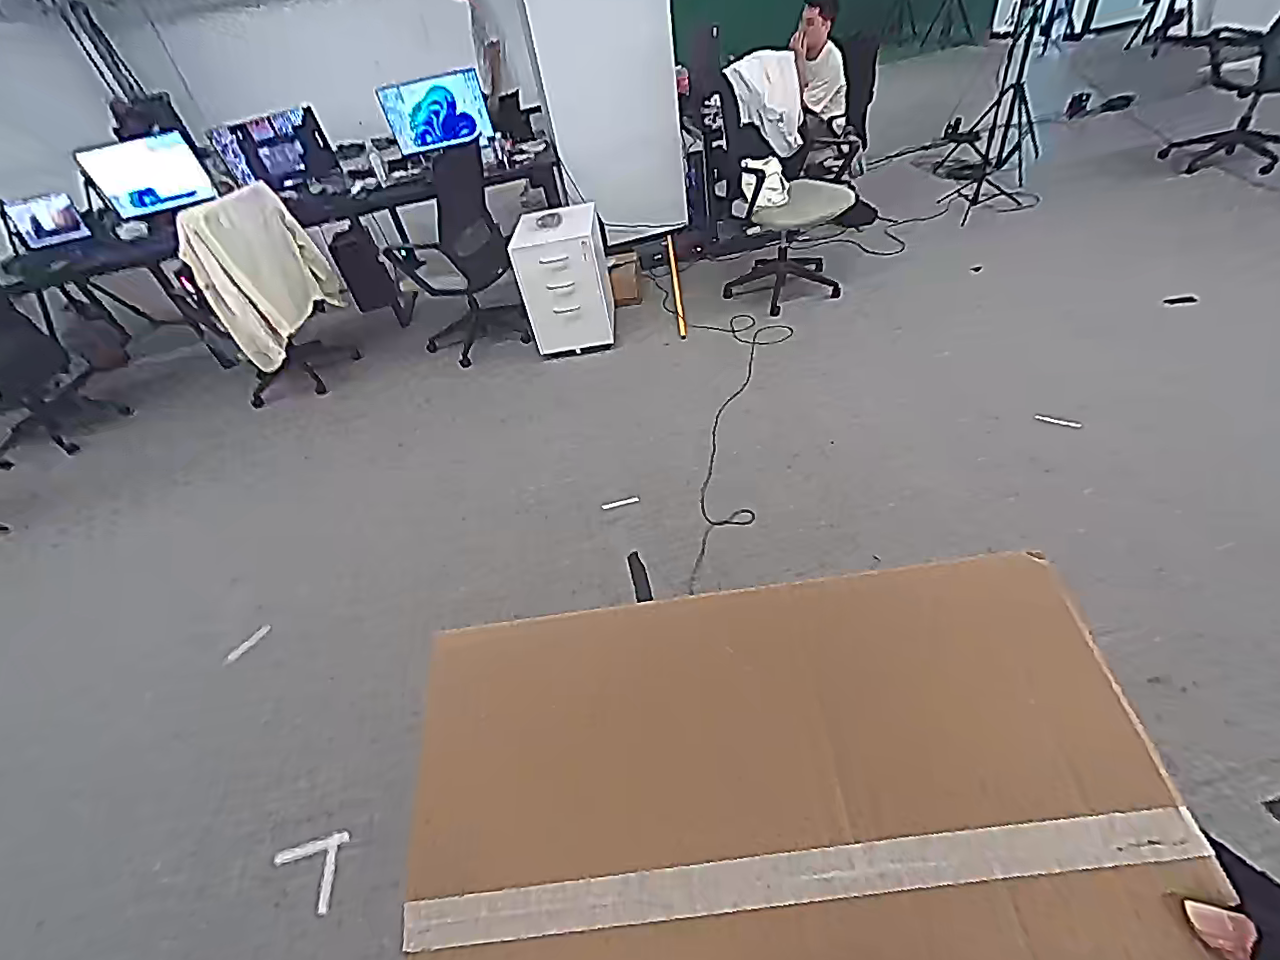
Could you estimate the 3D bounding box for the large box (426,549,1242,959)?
[{"bbox_3d":[0.095,0.283,0.417,0.408,0.320,0.320,-9,59,3],"label":"large box"}]
